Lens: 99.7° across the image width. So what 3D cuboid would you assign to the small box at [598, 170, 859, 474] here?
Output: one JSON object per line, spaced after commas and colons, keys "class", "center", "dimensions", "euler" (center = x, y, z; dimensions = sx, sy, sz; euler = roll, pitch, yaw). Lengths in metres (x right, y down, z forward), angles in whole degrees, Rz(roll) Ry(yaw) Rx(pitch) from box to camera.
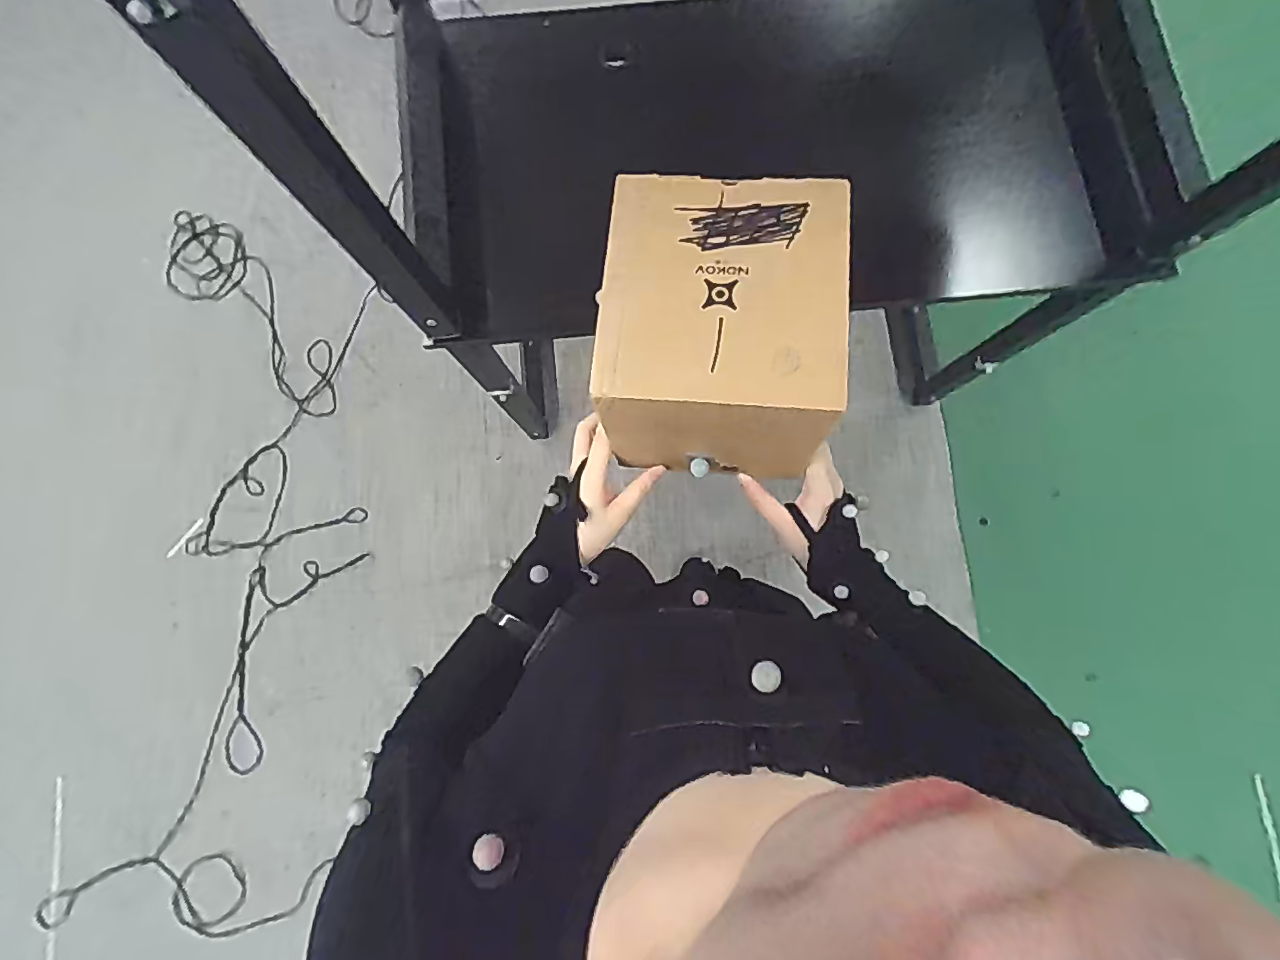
{"class": "small box", "center": [0.069, -0.116, 0.443], "dimensions": [0.168, 0.176, 0.179], "euler": [5, 77, 7]}
